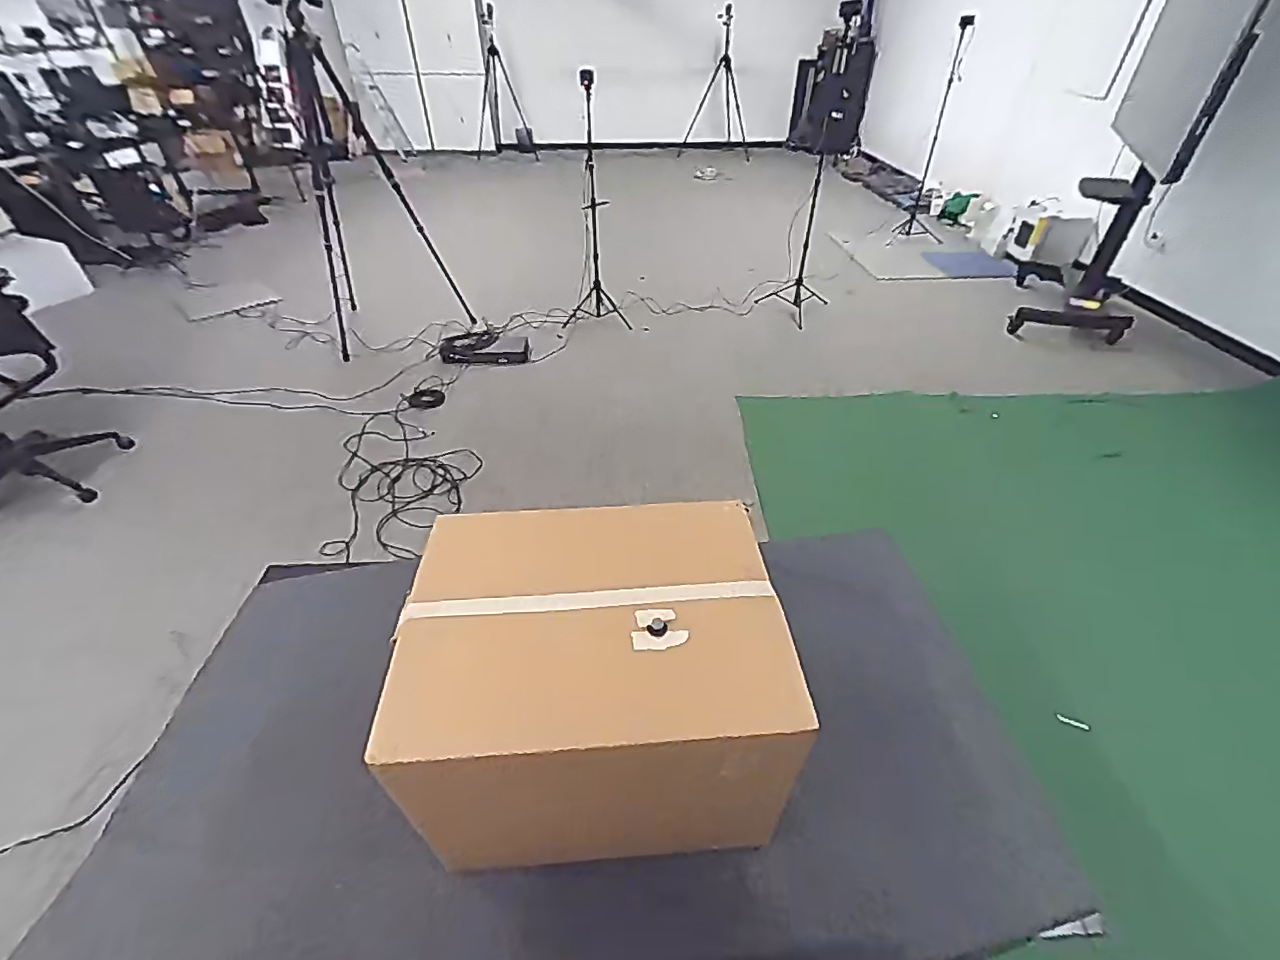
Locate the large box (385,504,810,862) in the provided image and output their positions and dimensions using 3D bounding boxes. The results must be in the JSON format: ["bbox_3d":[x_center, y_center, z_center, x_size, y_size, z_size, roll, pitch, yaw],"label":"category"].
[{"bbox_3d":[-0.050,0.254,0.704,0.408,0.320,0.320,-2,41,-4],"label":"large box"}]
